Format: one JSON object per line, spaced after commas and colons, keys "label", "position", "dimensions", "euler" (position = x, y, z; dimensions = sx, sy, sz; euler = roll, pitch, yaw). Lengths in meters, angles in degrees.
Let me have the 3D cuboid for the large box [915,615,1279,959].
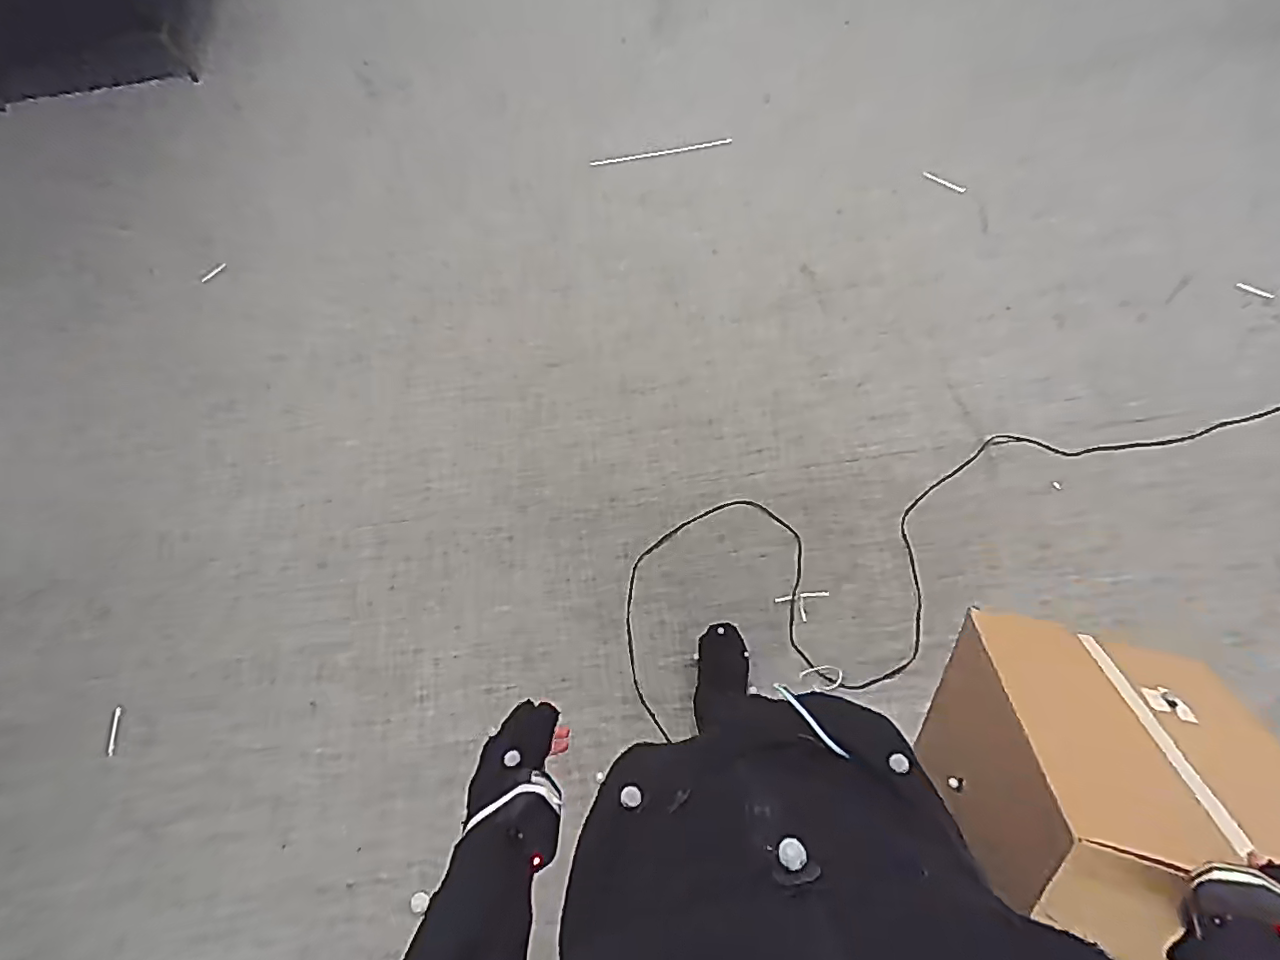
{"label": "large box", "position": [0.593, 0.448, 0.705], "dimensions": [0.320, 0.408, 0.320], "euler": [14, 112, 13]}
